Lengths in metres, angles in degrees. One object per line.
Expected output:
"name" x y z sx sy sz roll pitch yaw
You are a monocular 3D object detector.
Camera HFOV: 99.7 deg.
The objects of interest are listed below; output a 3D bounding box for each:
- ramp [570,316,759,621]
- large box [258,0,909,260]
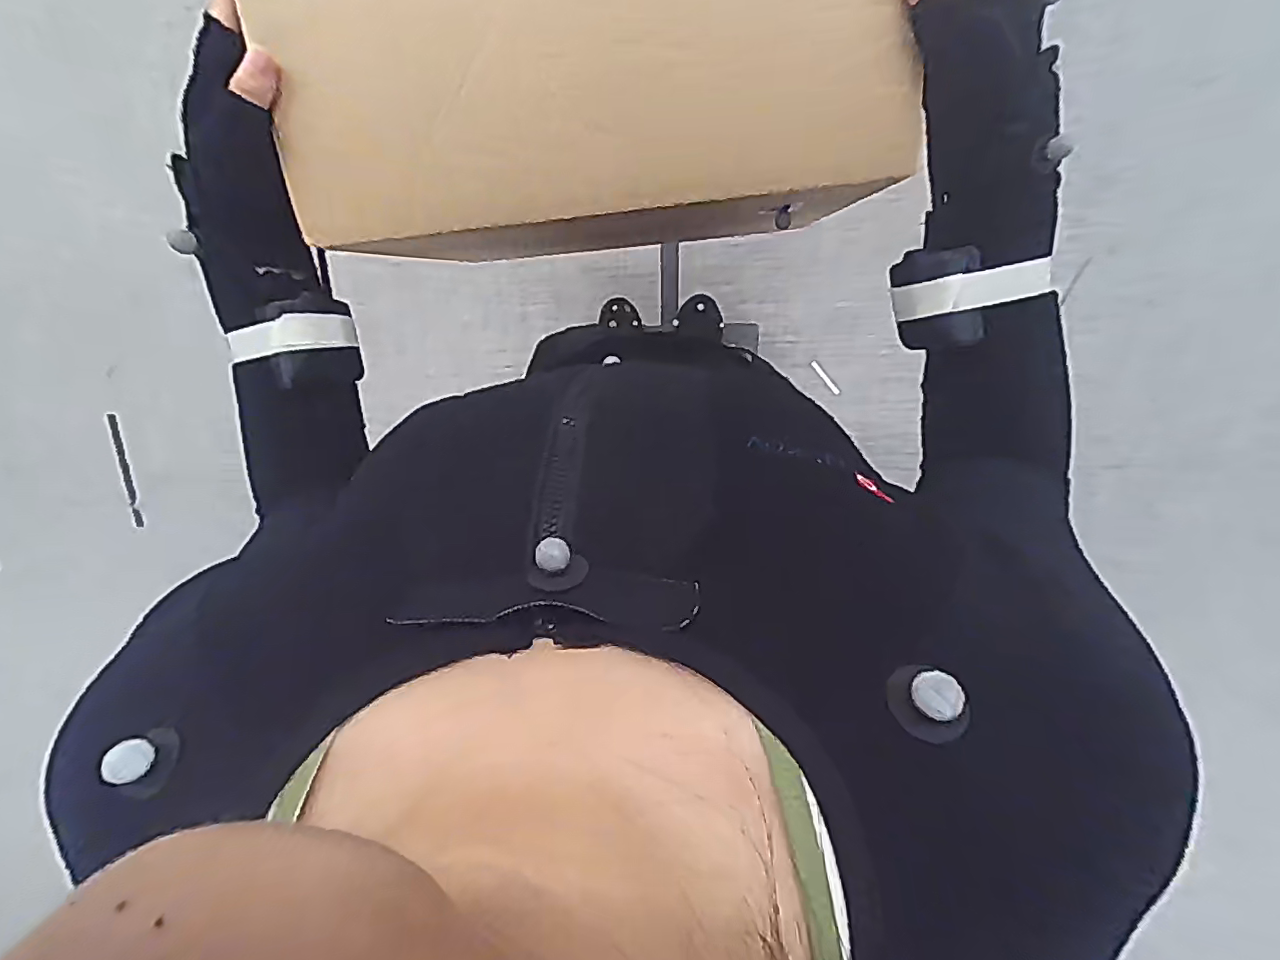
"ramp" 0.085 0.029 1.608 0.509 0.206 0.991 -2 107 5
"large box" -0.032 -0.376 0.456 0.408 0.320 0.320 -4 109 6
